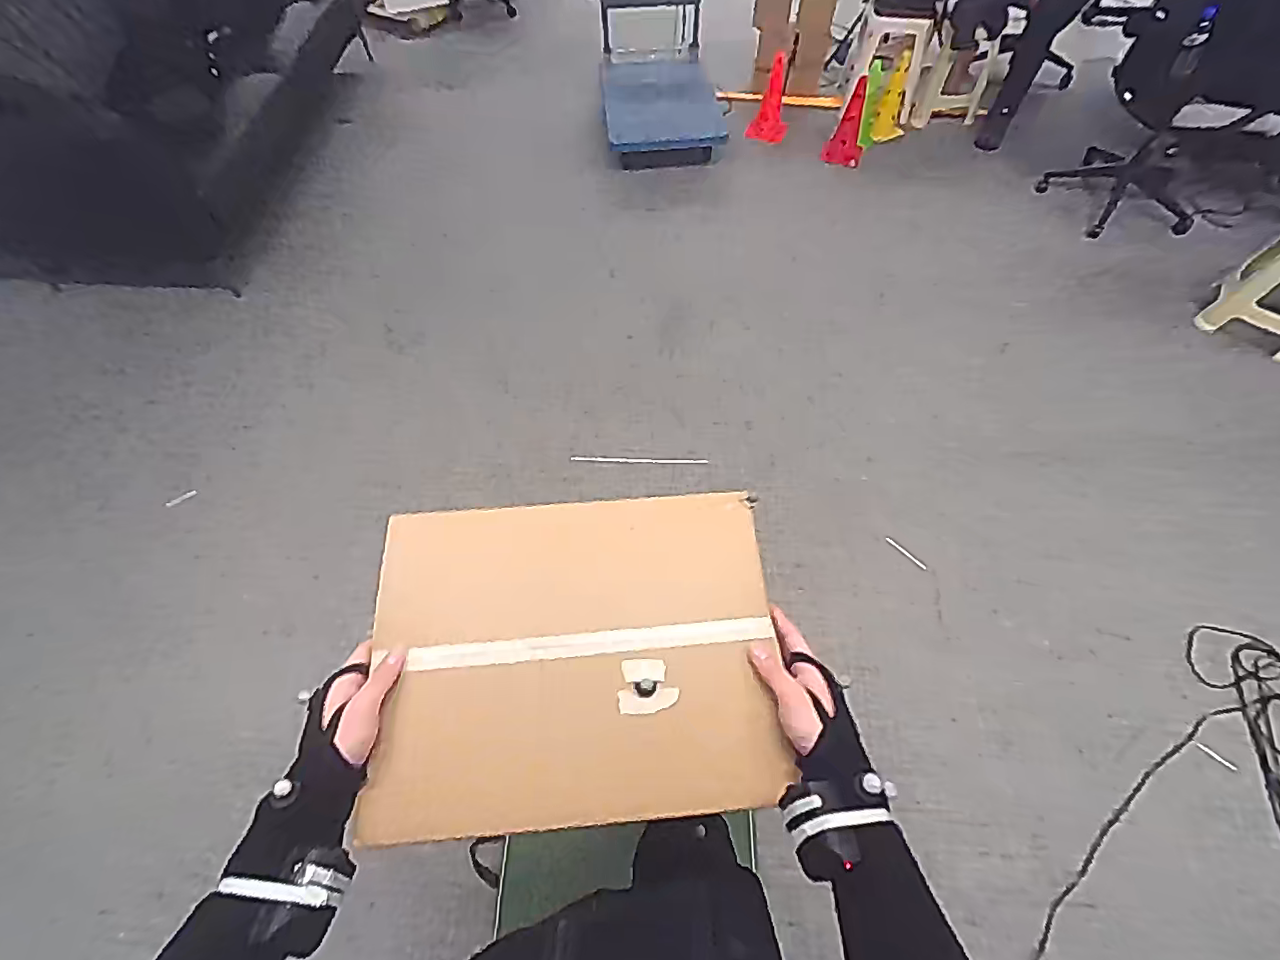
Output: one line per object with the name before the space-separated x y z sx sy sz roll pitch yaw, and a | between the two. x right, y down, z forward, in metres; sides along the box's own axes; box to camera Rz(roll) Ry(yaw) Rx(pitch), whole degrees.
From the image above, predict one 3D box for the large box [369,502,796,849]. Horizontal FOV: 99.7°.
large box | -0.068 0.246 0.693 0.408 0.320 0.320 -4 64 -4
